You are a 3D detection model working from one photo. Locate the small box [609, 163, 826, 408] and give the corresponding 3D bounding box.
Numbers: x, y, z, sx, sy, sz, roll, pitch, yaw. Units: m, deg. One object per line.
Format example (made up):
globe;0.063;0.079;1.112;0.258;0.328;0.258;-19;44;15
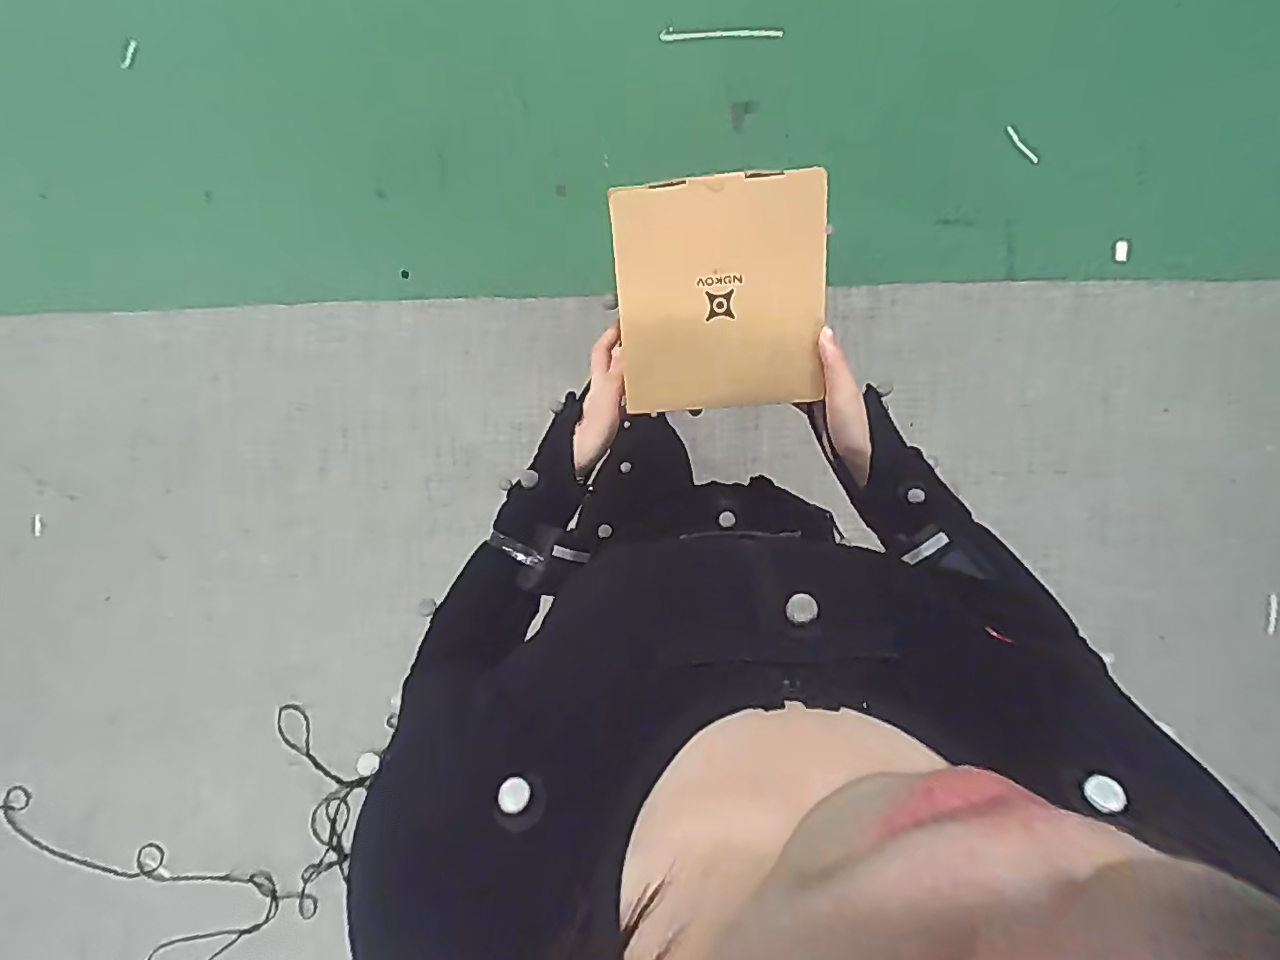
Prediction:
small box;0.067;-0.170;0.504;0.168;0.176;0.179;-3;105;4
